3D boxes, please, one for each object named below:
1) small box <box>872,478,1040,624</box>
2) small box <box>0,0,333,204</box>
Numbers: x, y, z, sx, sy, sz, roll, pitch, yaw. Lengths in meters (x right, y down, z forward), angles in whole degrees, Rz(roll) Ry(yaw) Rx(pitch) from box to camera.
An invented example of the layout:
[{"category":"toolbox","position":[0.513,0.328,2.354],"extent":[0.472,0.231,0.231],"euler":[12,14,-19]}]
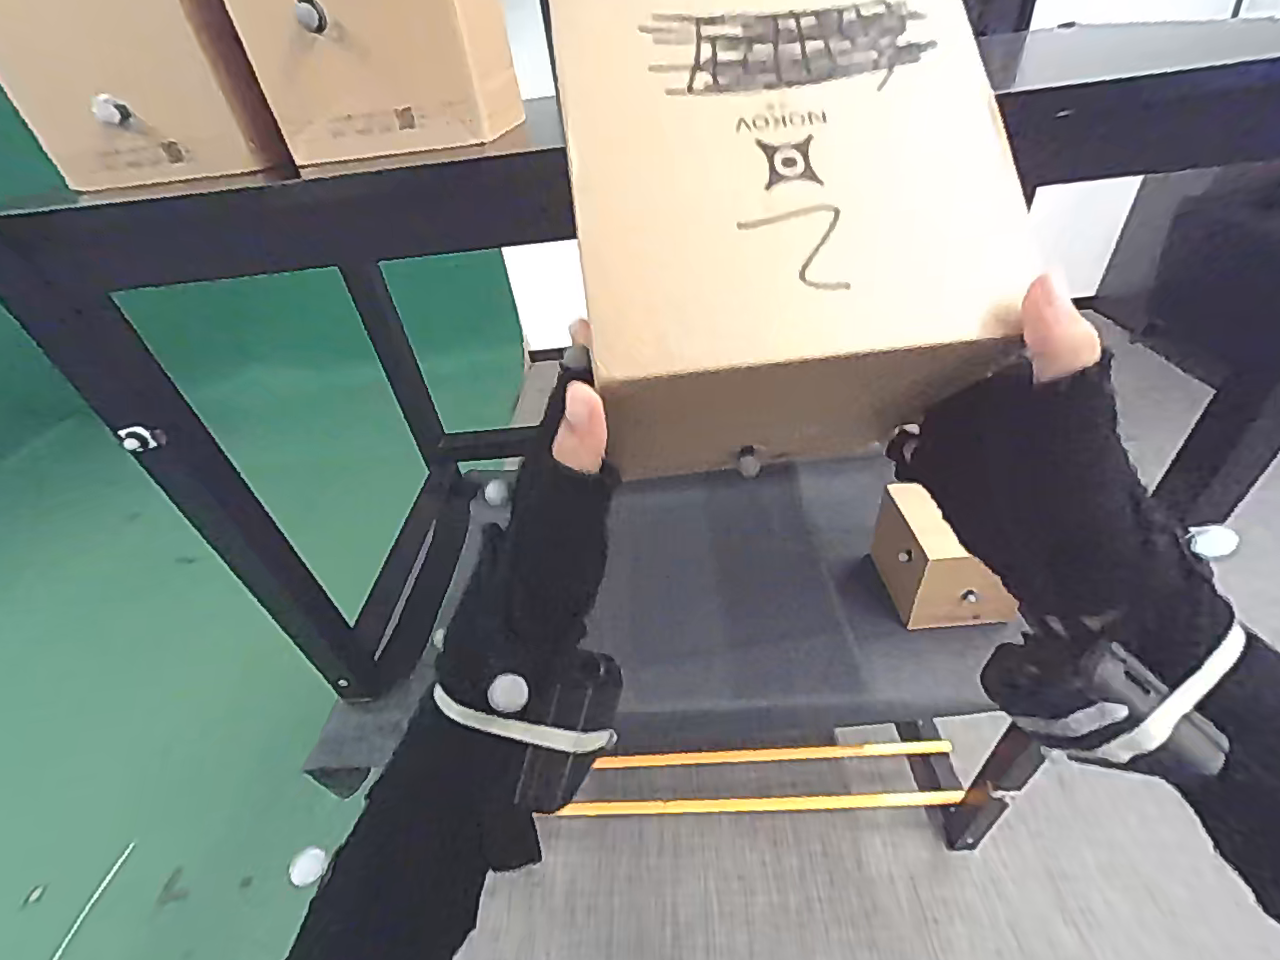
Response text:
[{"category":"small box","position":[0.502,0.121,0.890],"extent":[0.168,0.176,0.179],"euler":[-6,37,3]},{"category":"small box","position":[-0.408,-0.357,0.478],"extent":[0.168,0.176,0.179],"euler":[-5,39,3]}]
